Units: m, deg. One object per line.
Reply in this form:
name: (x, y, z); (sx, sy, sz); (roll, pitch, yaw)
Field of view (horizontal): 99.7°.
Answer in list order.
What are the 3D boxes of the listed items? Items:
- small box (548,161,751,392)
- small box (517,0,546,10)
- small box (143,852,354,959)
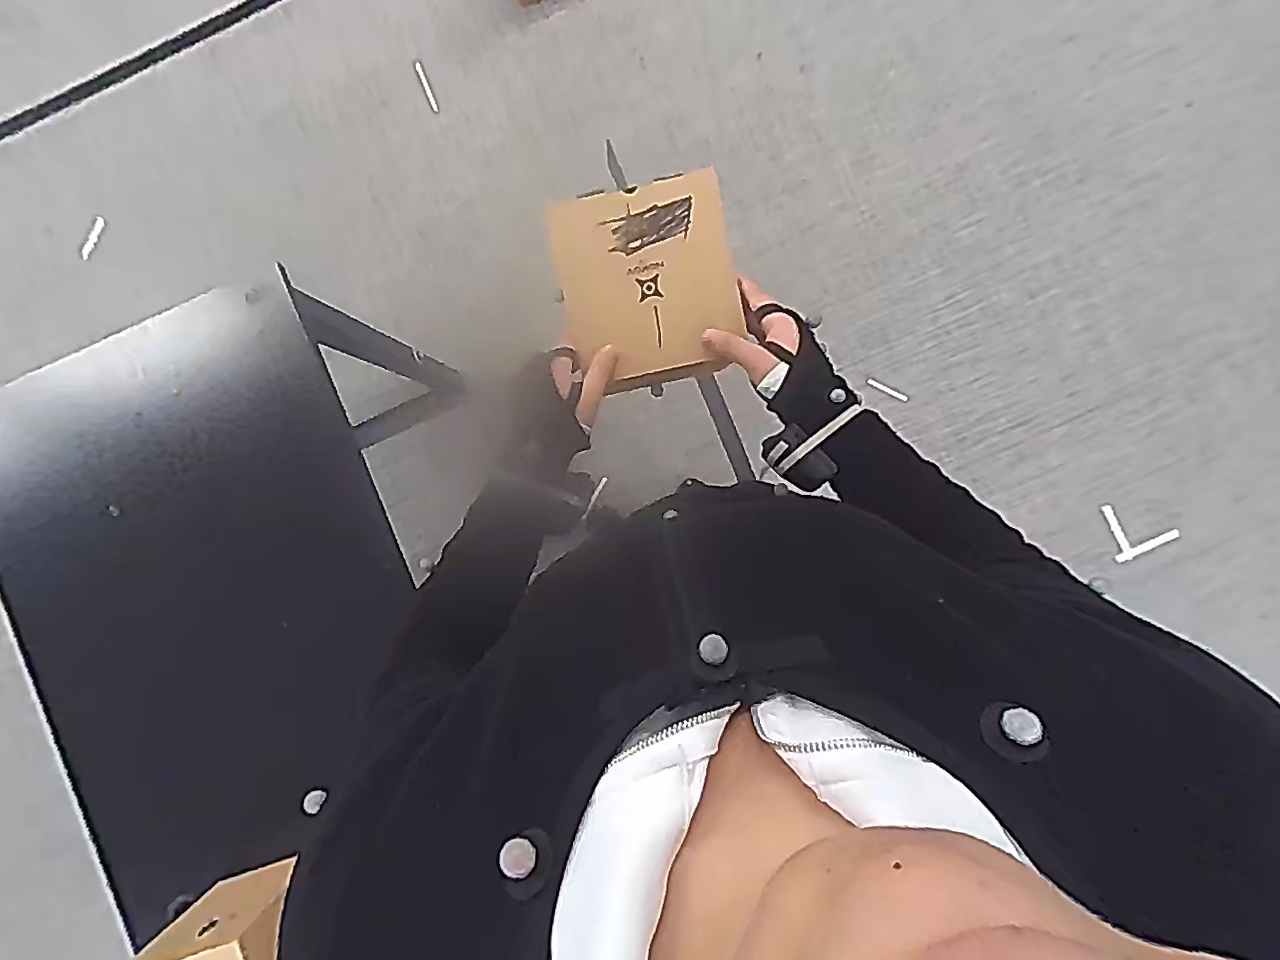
small box: (0.008, -0.202, 0.586); (0.168, 0.176, 0.179); (-13, 95, 1)
small box: (-0.292, -1.441, 1.459); (0.179, 0.176, 0.168); (-23, 87, 3)
small box: (-0.516, 0.644, 0.721); (0.179, 0.176, 0.168); (-20, 88, 3)
